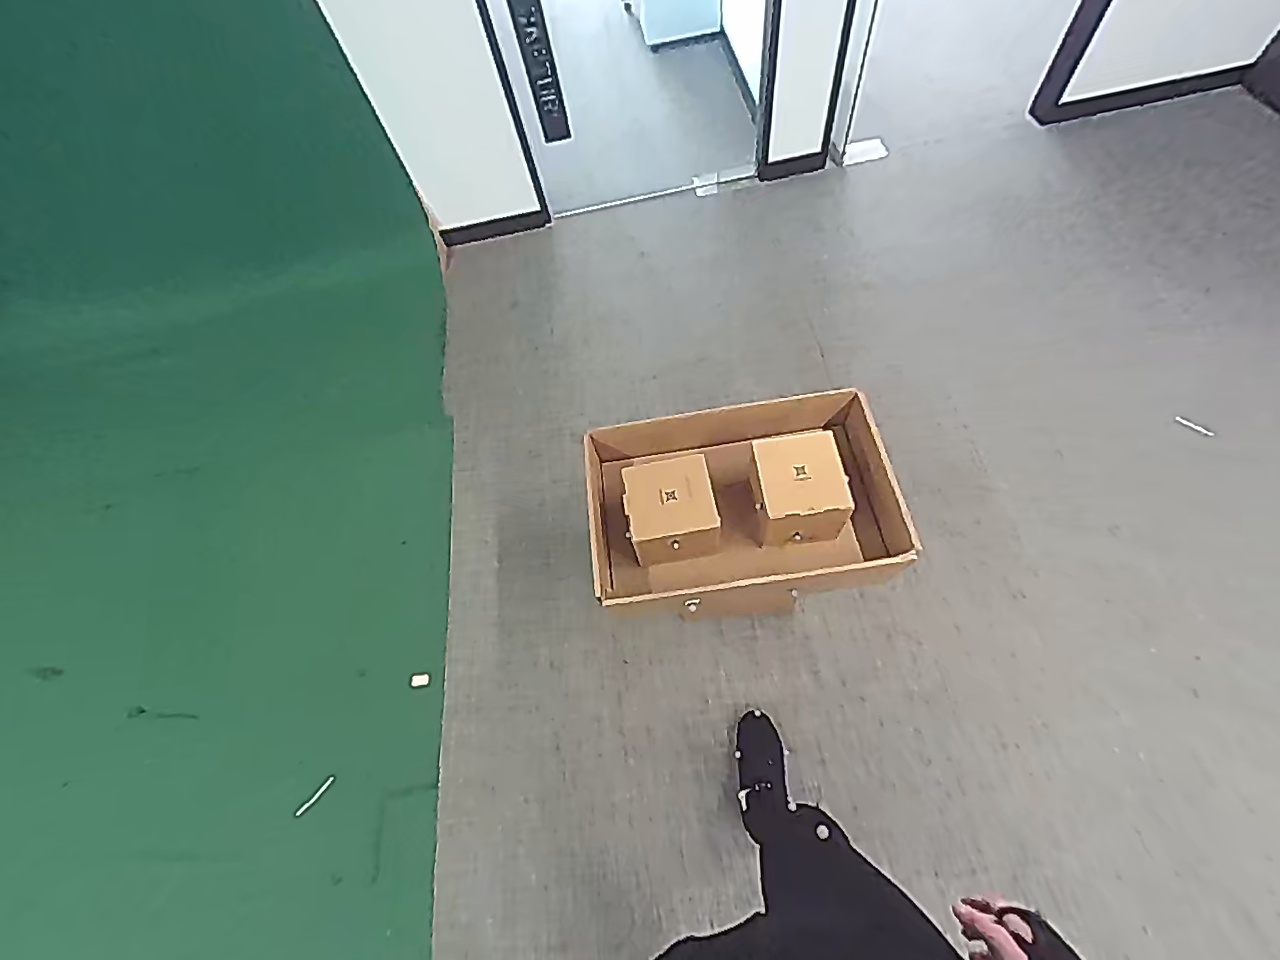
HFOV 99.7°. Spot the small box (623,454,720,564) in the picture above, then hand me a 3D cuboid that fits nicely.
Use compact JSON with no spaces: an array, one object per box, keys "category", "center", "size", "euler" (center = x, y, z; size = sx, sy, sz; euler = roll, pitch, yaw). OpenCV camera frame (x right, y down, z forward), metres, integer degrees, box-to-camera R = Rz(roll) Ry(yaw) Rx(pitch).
[{"category":"small box","center":[0.068,0.068,1.144],"size":[0.179,0.176,0.168],"euler":[-9,63,1]}]

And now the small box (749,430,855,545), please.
[{"category":"small box","center":[0.327,0.020,1.133],"size":[0.168,0.176,0.179],"euler":[-8,63,3]}]
